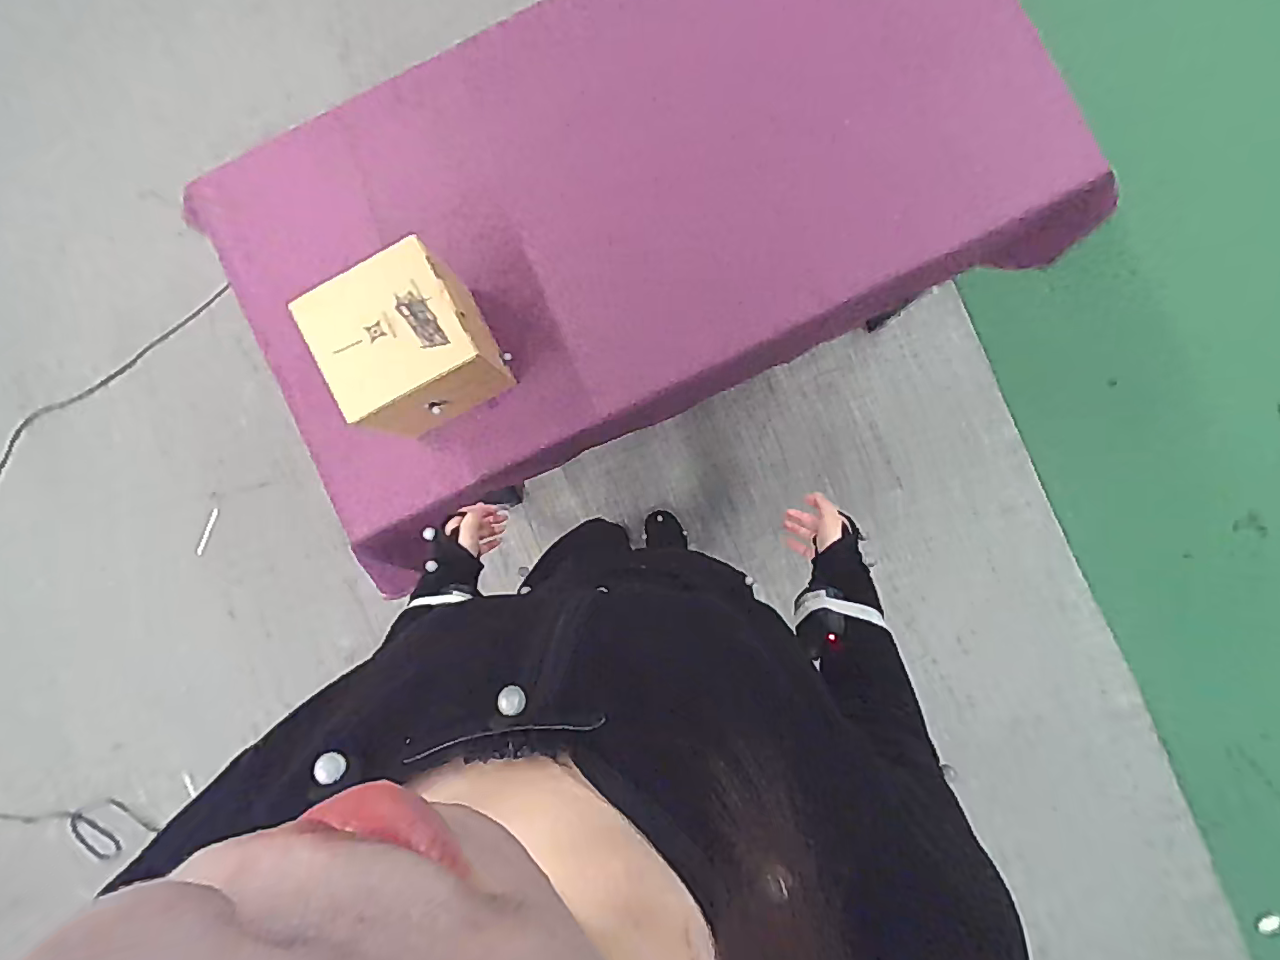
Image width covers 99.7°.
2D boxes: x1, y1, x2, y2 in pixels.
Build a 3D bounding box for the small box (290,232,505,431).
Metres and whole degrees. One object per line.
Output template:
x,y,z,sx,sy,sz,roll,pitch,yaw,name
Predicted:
-0.296,-0.179,0.708,0.179,0.176,0.168,-28,88,3,small box
